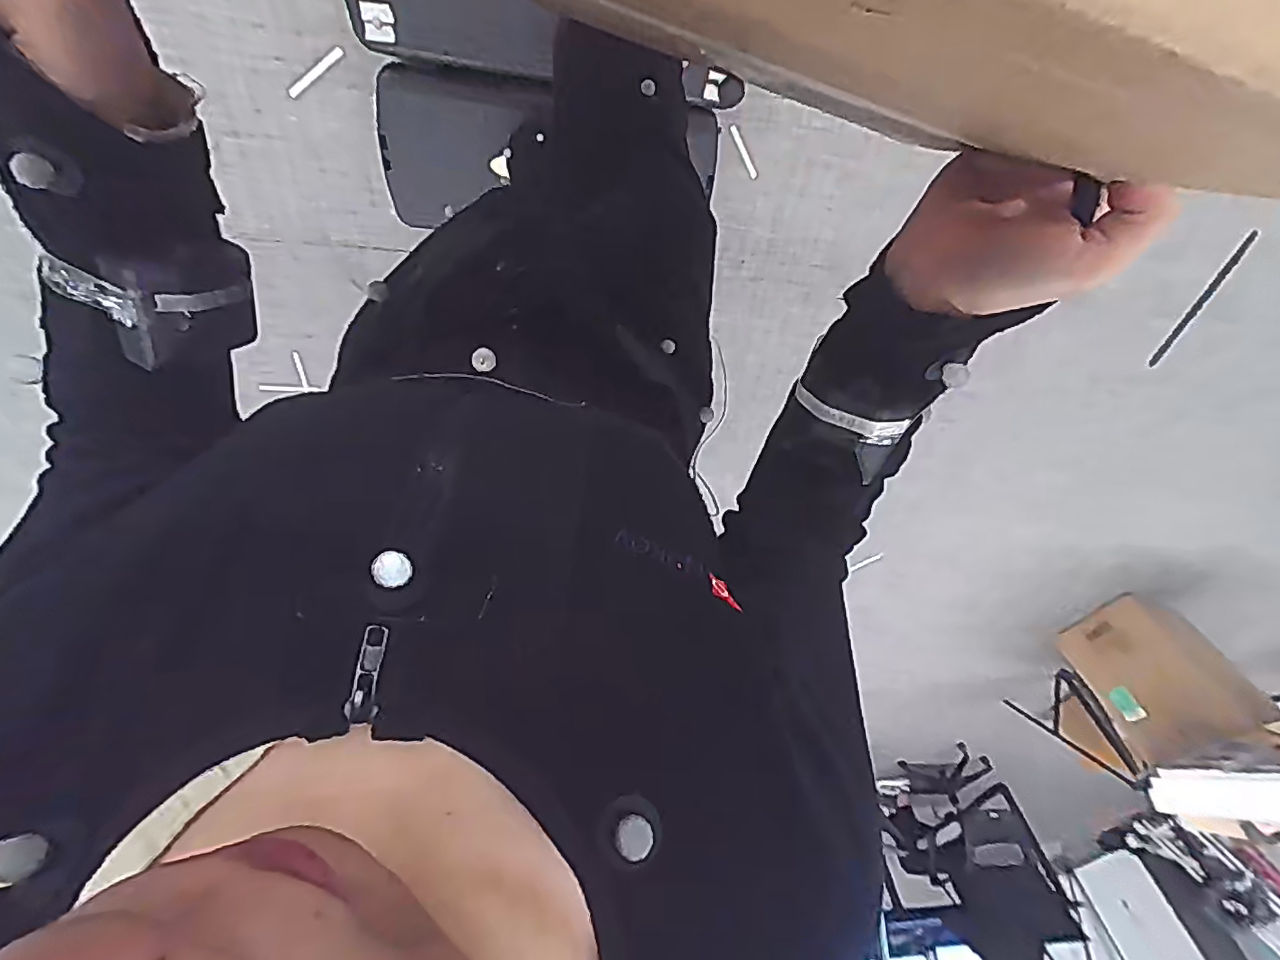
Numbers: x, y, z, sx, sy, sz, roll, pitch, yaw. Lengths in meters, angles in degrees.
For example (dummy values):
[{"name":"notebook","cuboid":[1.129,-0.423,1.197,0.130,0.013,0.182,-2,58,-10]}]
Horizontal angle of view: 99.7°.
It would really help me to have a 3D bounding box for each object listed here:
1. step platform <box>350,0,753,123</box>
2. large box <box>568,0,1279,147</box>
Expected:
[{"name":"step platform","cuboid":[-0.123,-0.837,0.898,0.684,0.204,0.286,6,130,-13]},{"name":"large box","cuboid":[0.013,-0.305,0.105,0.408,0.320,0.320,12,126,-8]}]
